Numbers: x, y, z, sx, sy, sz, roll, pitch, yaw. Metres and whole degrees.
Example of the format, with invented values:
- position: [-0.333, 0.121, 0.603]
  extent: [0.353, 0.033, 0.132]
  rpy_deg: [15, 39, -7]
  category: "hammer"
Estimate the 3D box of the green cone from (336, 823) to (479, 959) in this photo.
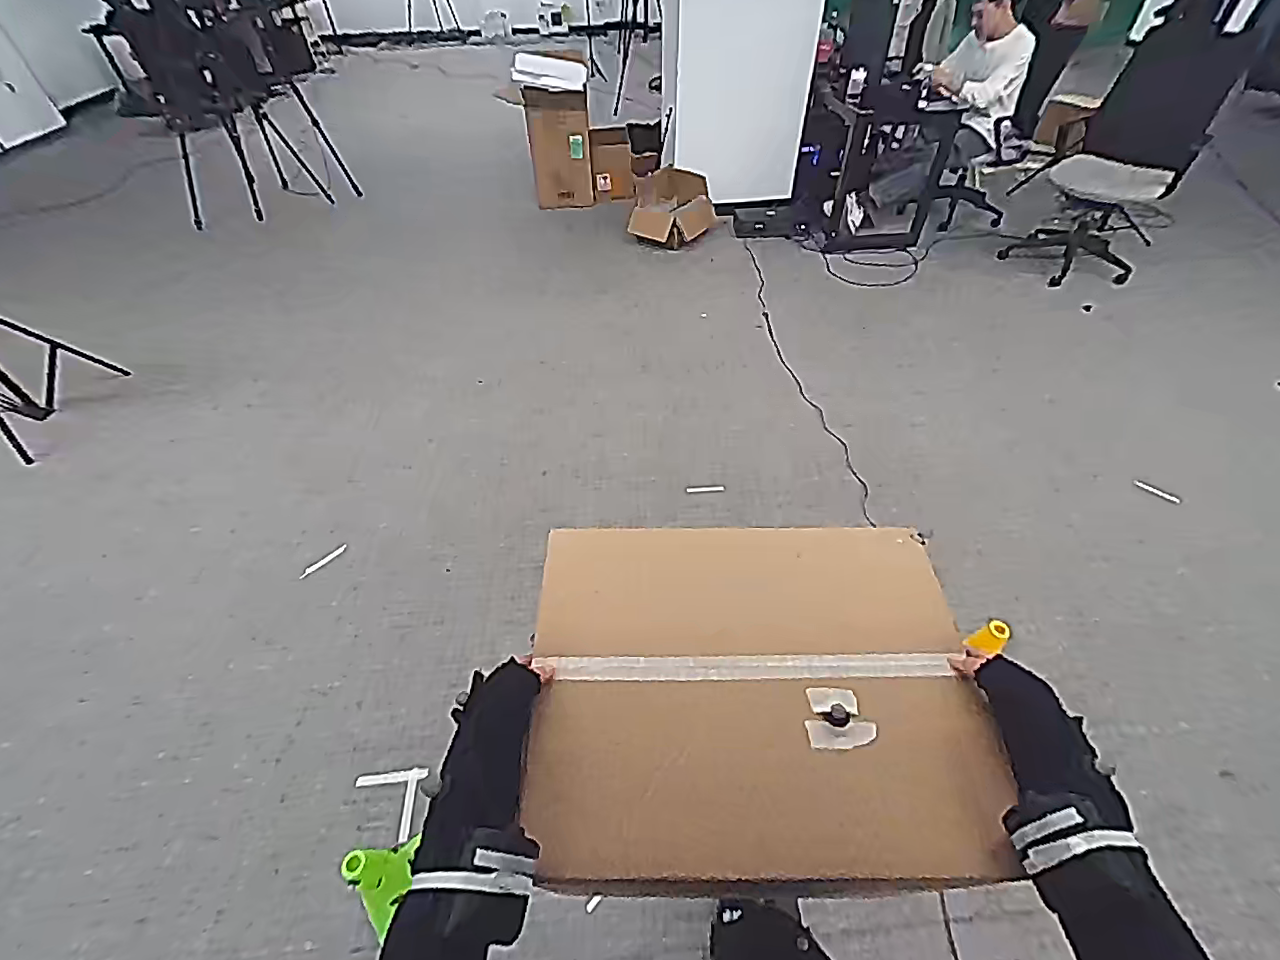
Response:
- position: [-0.486, 0.782, 1.053]
  extent: [0.202, 0.368, 0.200]
  rpy_deg: [-35, 54, -25]
  category: "green cone"

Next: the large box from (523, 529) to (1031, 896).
- position: [0.102, 0.270, 0.622]
  extent: [0.408, 0.320, 0.320]
  rpy_deg: [0, 51, 0]
  category: "large box"
